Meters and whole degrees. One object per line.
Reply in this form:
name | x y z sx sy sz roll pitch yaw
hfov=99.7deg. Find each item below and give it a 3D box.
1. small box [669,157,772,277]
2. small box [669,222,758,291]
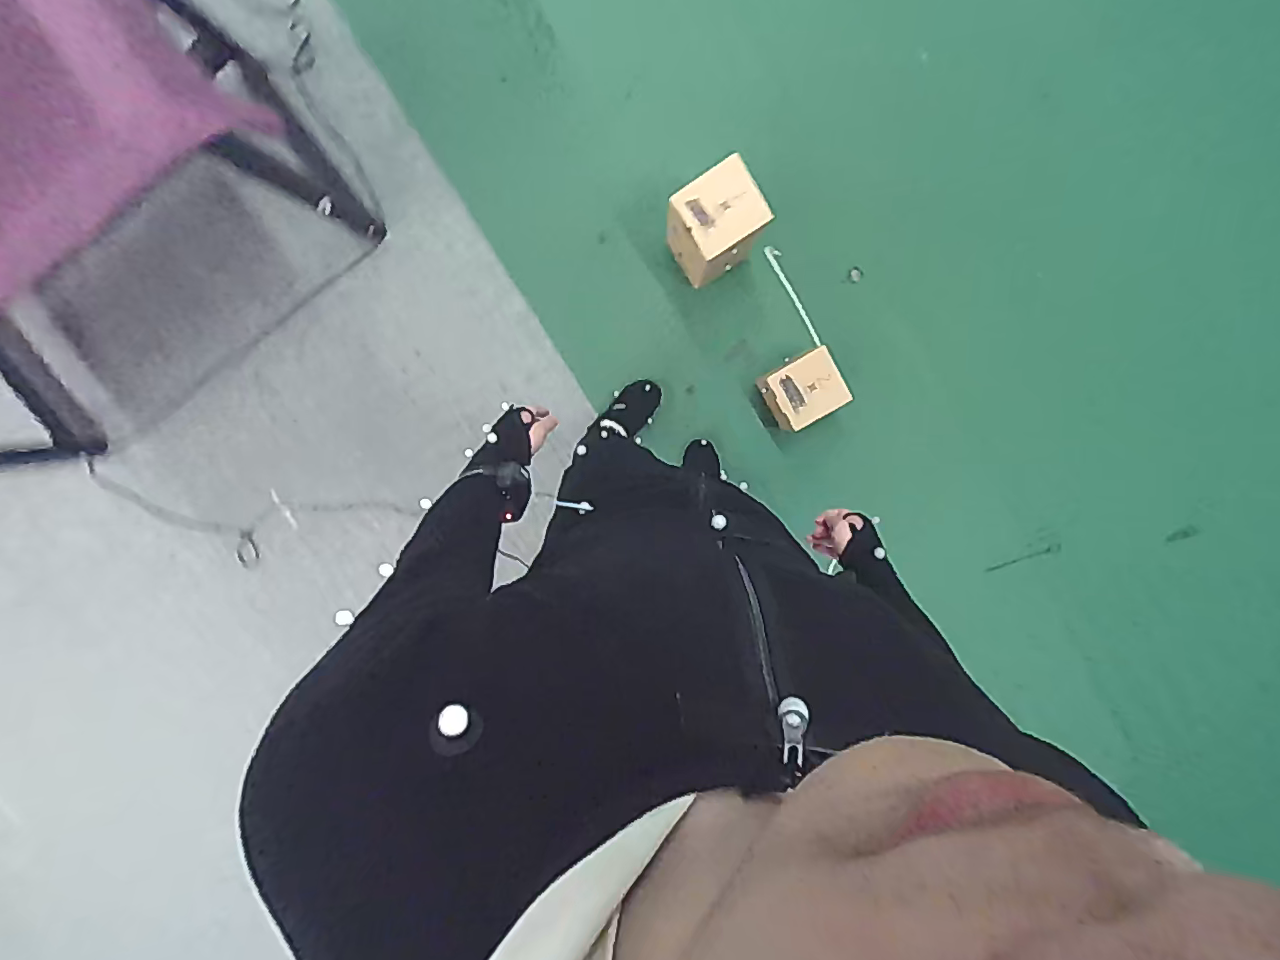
small box | 0.184 -0.610 1.283 0.179 0.176 0.168 -32 96 6
small box | 0.188 -0.634 1.446 0.179 0.176 0.168 -32 96 6
